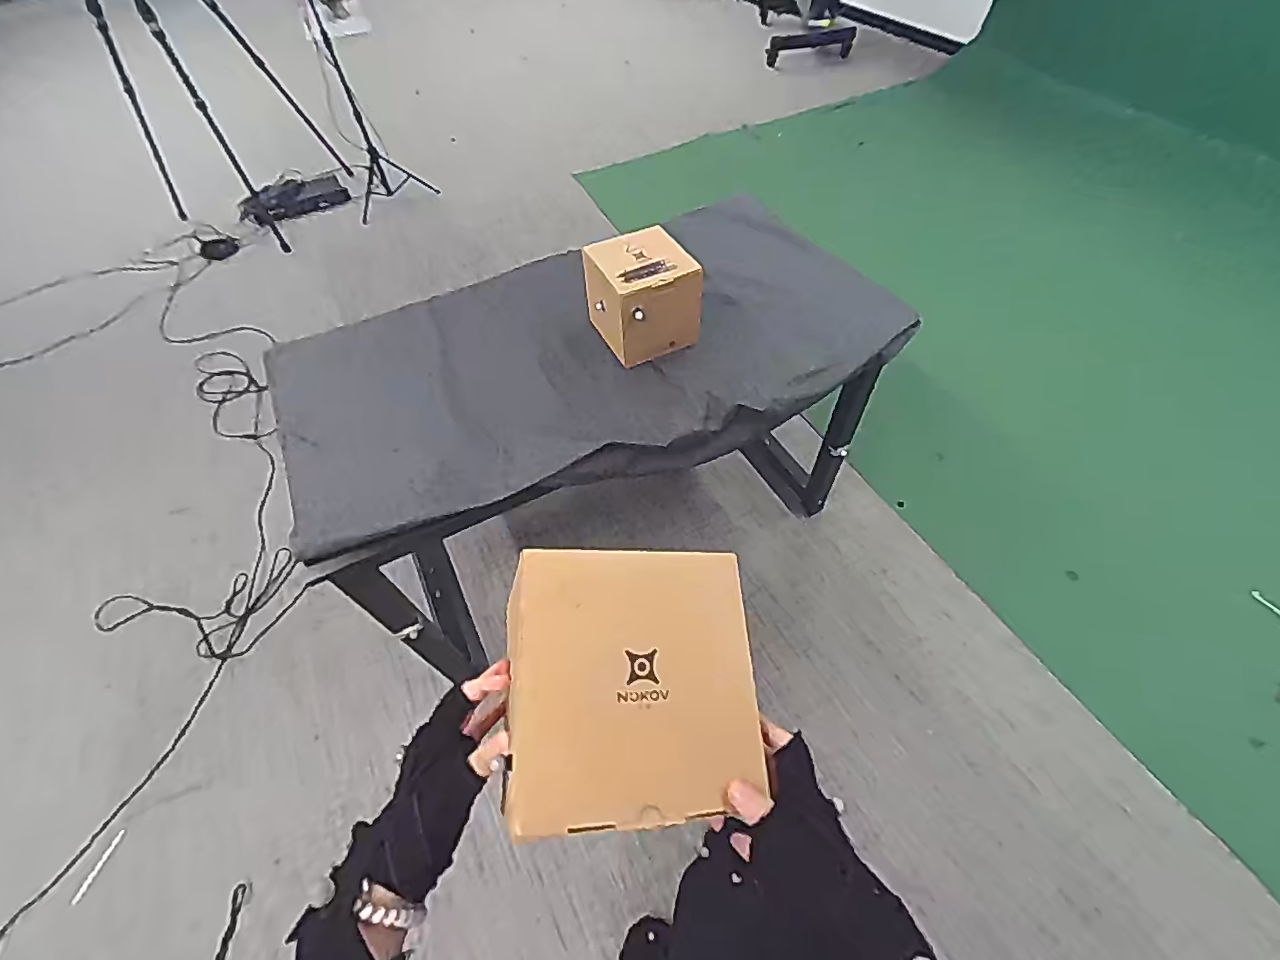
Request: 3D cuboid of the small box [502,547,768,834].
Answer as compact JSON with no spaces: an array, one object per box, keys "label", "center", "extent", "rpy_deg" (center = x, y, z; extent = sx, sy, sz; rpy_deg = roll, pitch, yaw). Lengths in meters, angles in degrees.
[{"label":"small box","center":[-0.021,0.165,0.436],"extent":[0.168,0.176,0.179],"rpy_deg":[3,64,-16]}]
